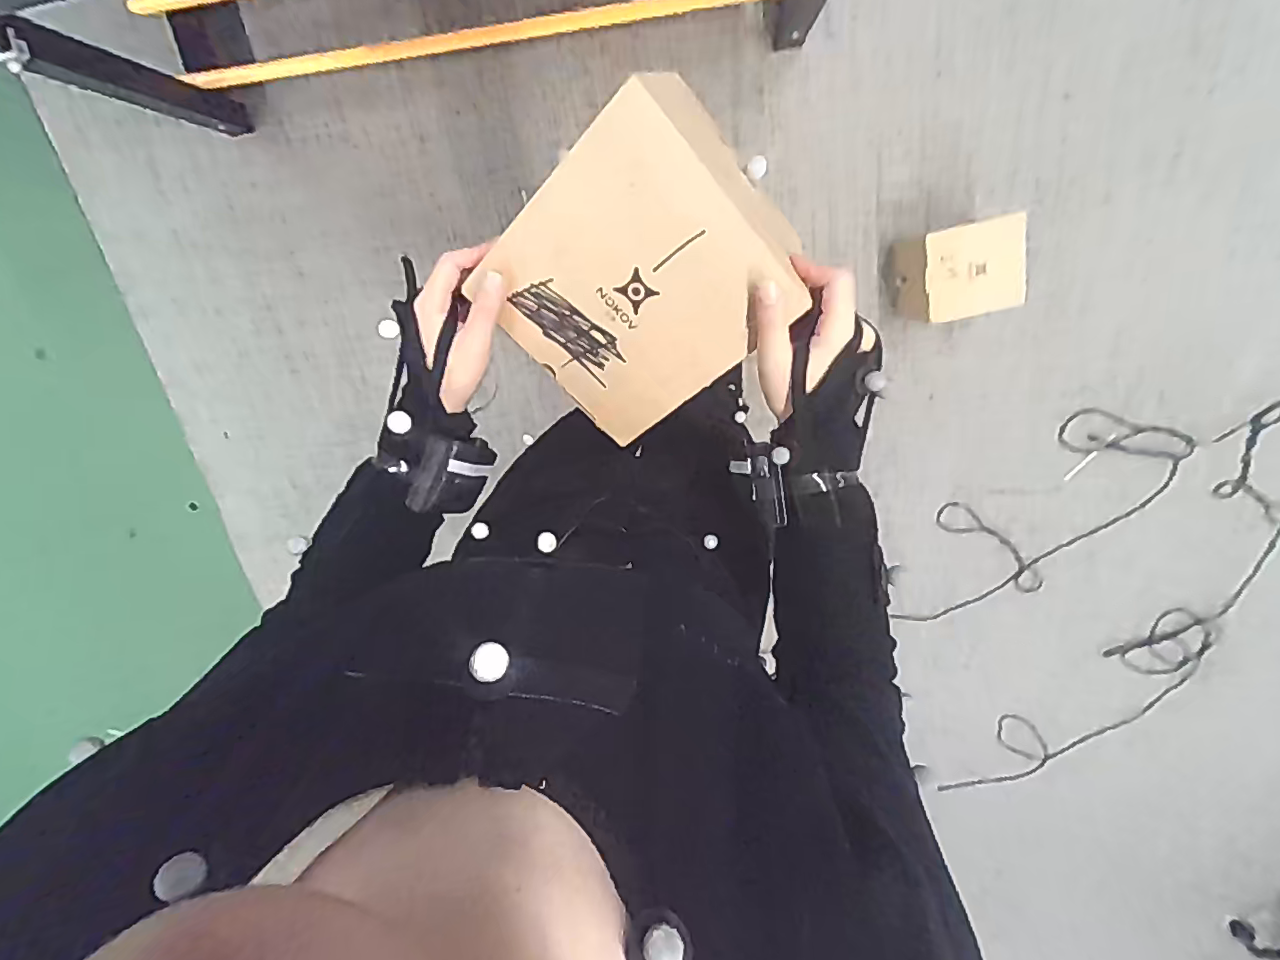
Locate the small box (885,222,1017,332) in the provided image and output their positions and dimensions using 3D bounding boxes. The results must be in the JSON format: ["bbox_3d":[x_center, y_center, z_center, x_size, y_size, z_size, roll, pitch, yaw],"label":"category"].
[{"bbox_3d":[0.616,-0.404,1.084,0.179,0.176,0.168,-12,108,7],"label":"small box"}]
